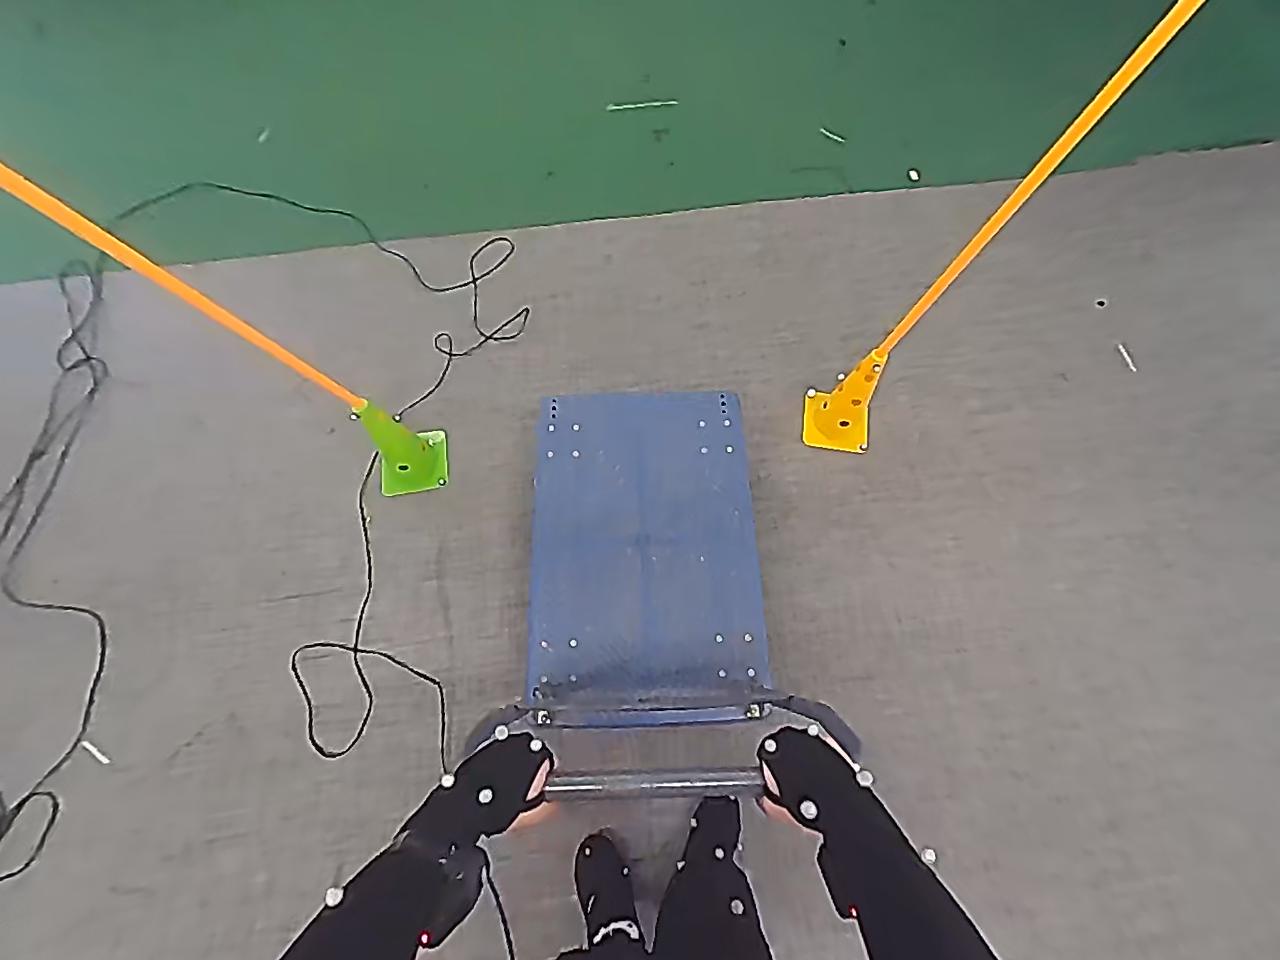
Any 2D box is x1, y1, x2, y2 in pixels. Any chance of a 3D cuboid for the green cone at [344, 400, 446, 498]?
[{"bbox_3d":[-0.708,-0.118,1.512,0.202,0.368,0.200,-11,67,-2],"label":"green cone"}]
